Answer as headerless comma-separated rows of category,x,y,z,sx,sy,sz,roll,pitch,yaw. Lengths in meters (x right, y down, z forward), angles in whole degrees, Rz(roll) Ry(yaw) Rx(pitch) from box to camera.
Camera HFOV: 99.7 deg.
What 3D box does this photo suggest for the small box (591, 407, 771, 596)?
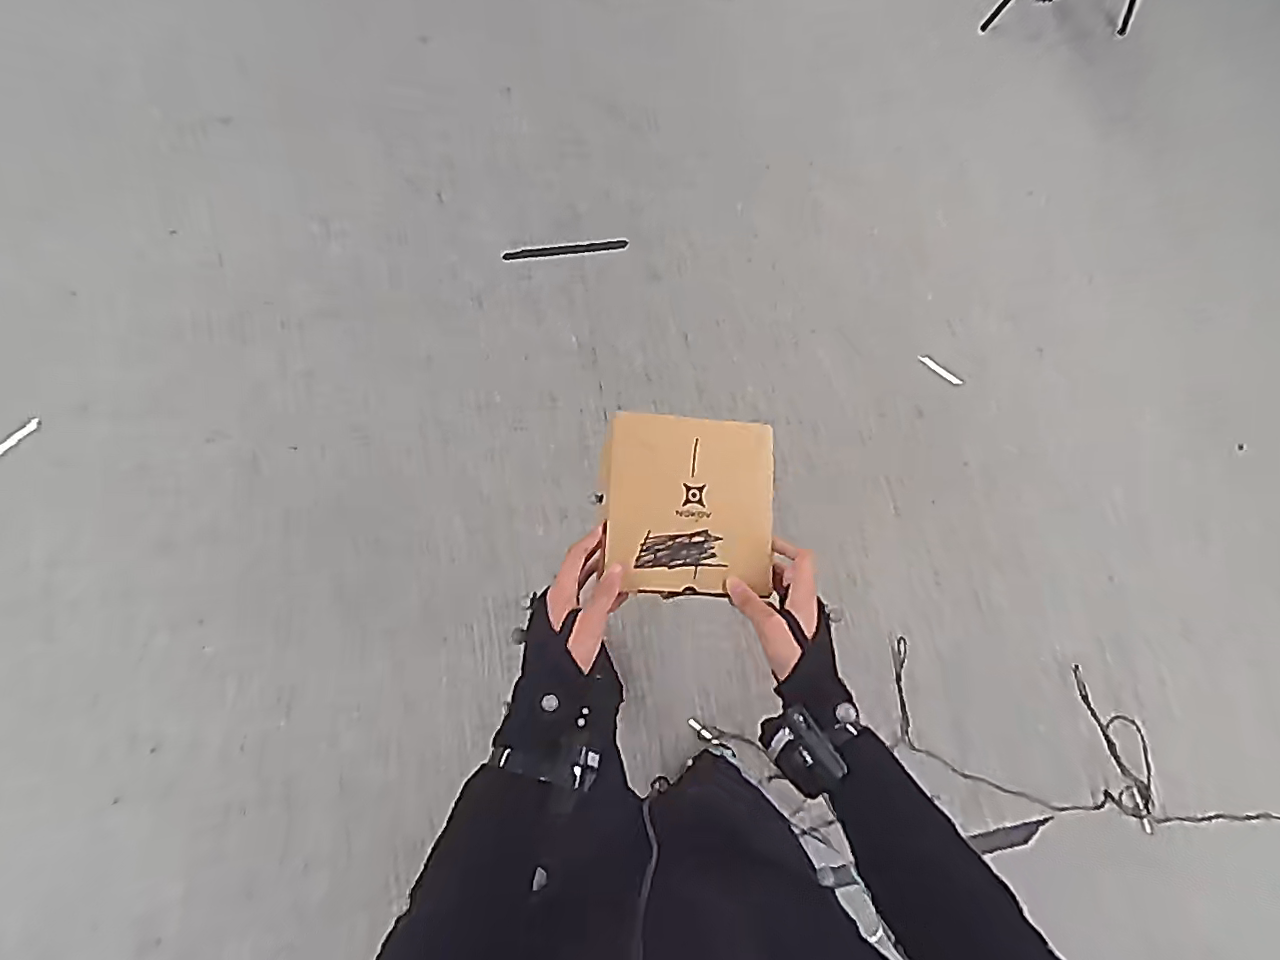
small box,0.036,0.033,0.602,0.168,0.176,0.179,4,79,-9
